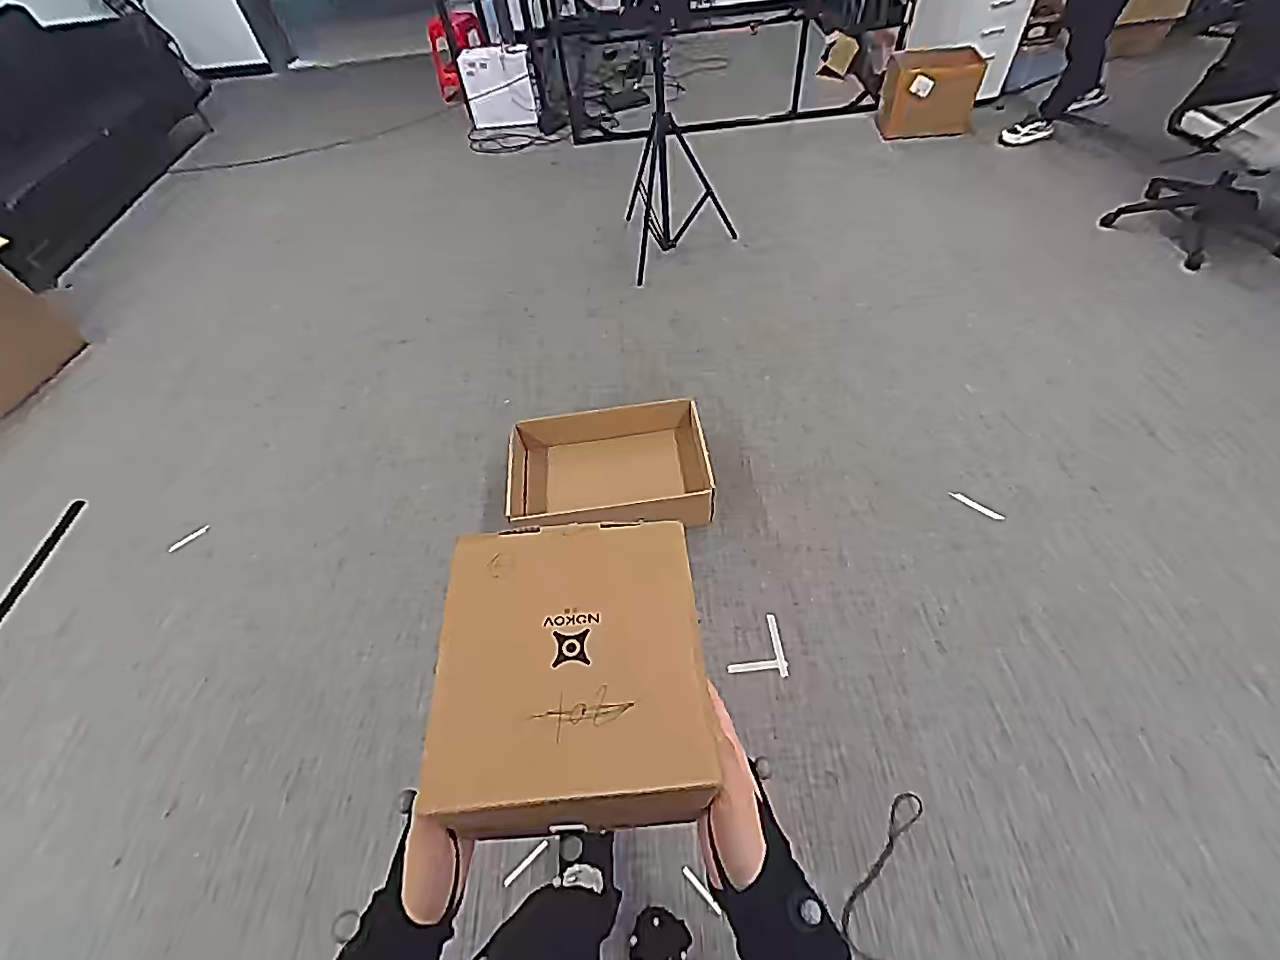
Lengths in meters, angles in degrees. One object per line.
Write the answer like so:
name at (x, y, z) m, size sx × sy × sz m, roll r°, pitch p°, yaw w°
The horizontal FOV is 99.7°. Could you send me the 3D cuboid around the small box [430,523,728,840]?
small box at (-0.040, 0.153, 0.408) m, size 0.168 × 0.176 × 0.179 m, roll -4°, pitch 52°, yaw -4°
